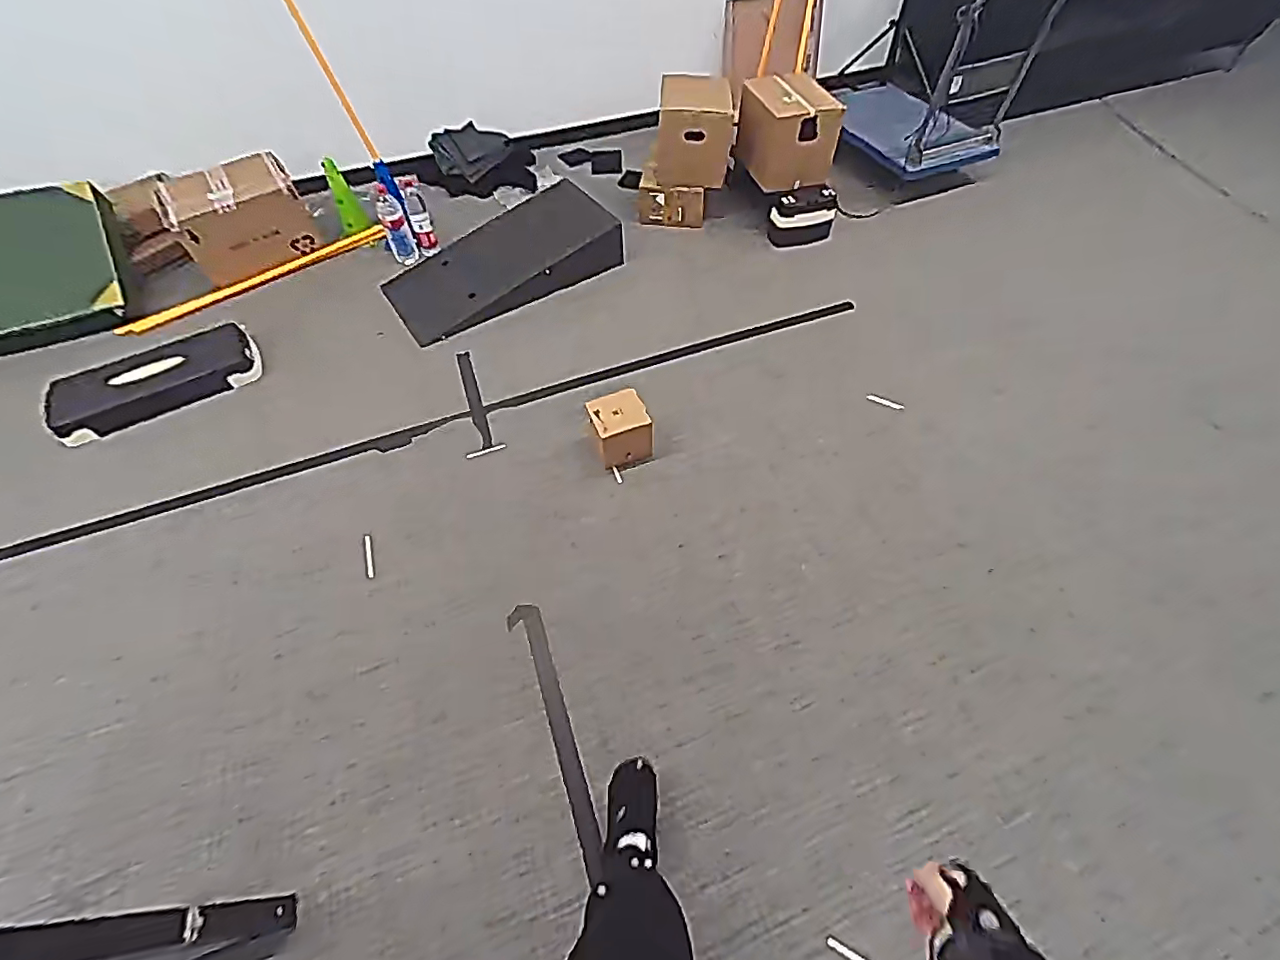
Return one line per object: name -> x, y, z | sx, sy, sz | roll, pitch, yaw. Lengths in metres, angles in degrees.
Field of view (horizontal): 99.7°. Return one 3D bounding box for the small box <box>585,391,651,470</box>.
small box -> -0.074, -0.162, 1.793 | 0.179, 0.176, 0.168 | -18, 56, -12
